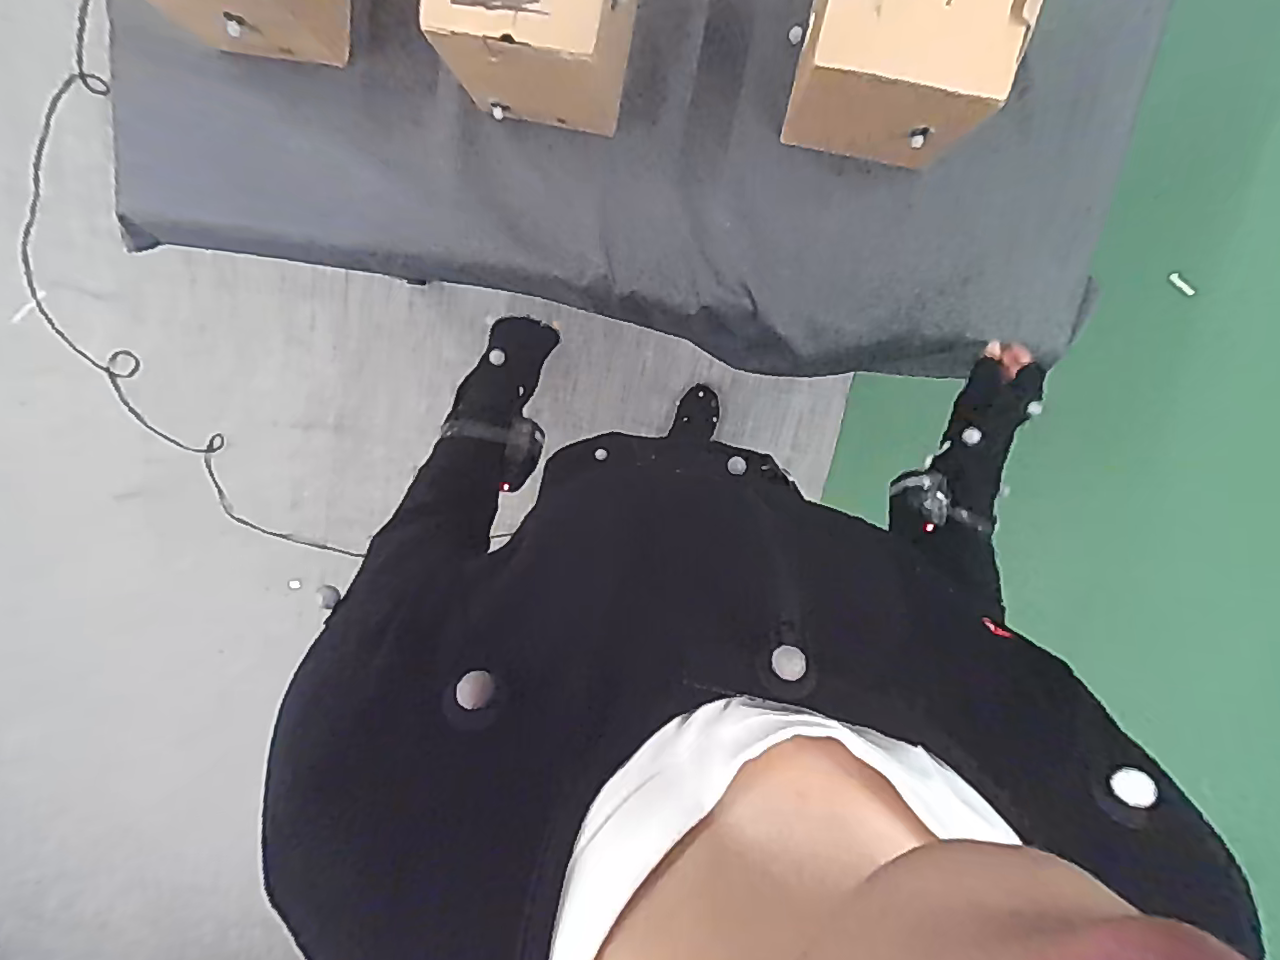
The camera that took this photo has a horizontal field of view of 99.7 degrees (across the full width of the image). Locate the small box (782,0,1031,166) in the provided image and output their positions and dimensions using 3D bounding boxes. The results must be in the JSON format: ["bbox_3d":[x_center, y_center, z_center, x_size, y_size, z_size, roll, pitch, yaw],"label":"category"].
[{"bbox_3d":[0.258,-0.443,0.544,0.179,0.176,0.168,12,101,4],"label":"small box"}]

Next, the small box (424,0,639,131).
[{"bbox_3d":[-0.098,-0.498,0.558,0.168,0.176,0.179,12,101,2],"label":"small box"}]

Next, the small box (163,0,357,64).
[{"bbox_3d":[-0.419,-0.580,0.566,0.168,0.176,0.179,9,102,2],"label":"small box"}]
